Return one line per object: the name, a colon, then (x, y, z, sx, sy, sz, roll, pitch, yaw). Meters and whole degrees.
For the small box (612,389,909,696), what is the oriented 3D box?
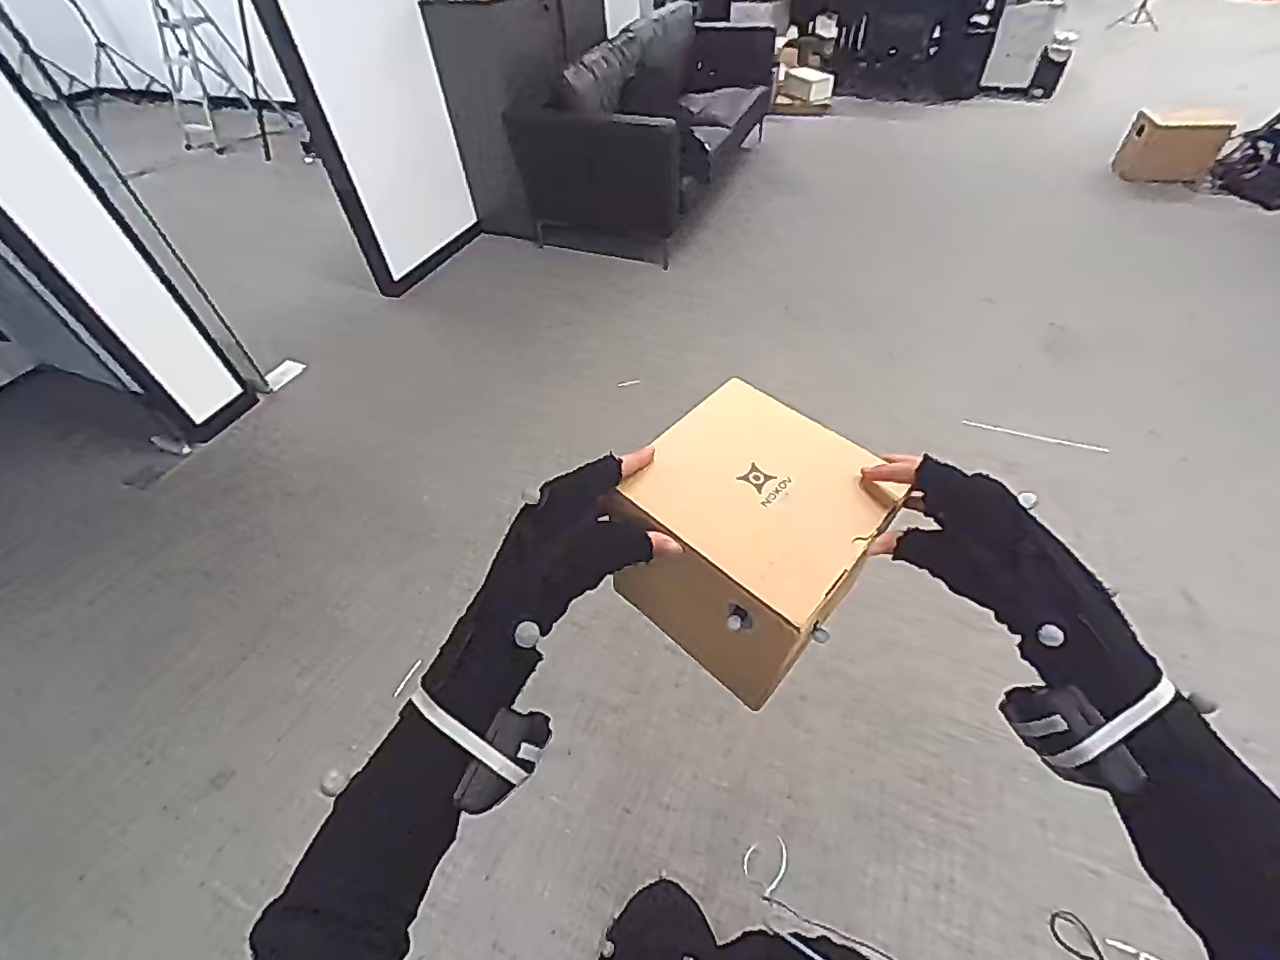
small box: (0.091, 0.057, 0.482, 0.179, 0.176, 0.168, 37, 59, 25)
